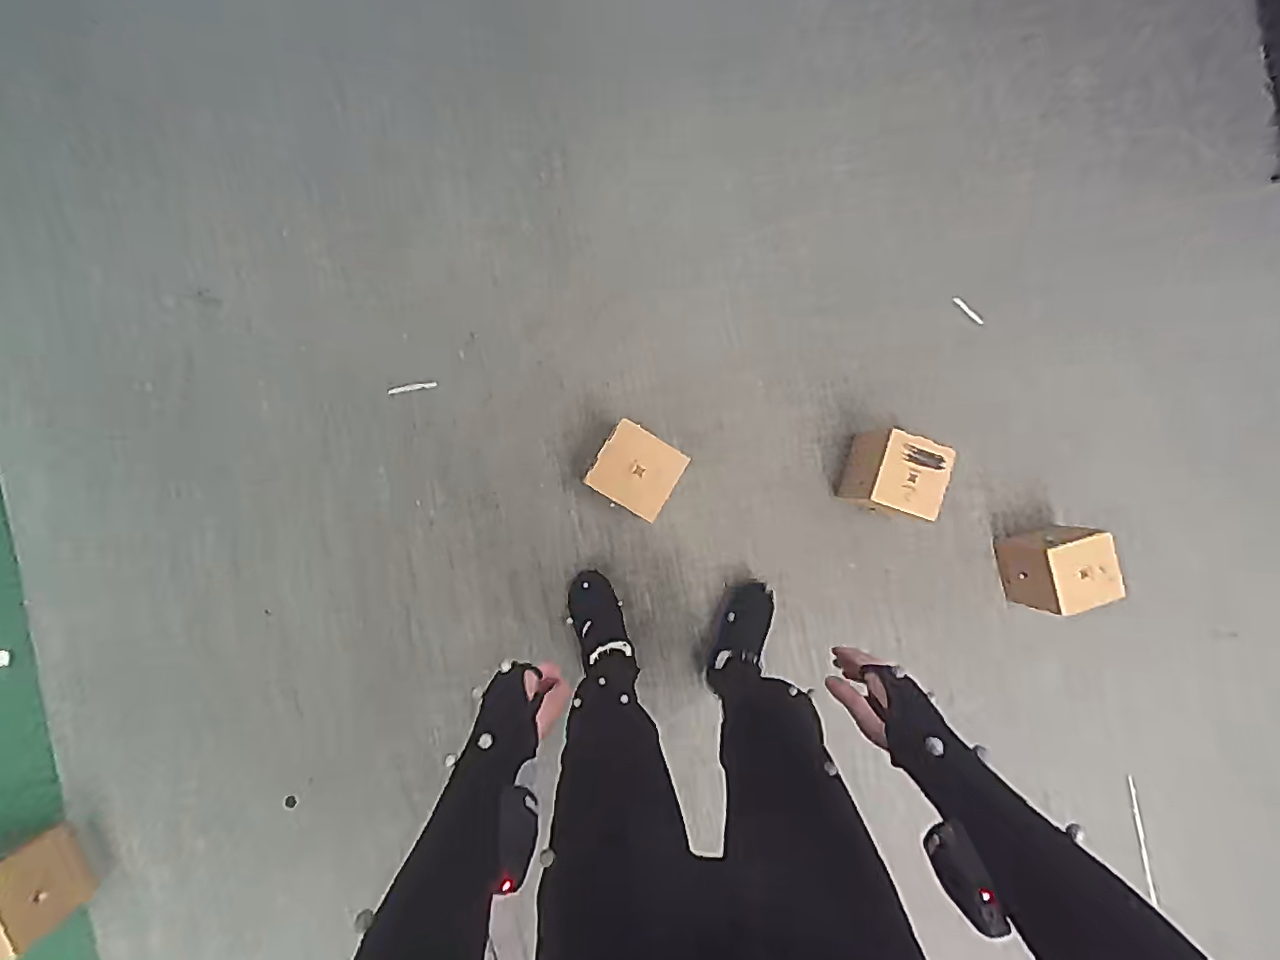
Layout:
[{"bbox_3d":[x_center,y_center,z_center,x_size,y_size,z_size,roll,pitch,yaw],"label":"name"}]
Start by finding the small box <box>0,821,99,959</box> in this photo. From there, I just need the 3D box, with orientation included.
[{"bbox_3d":[-1.265,0.843,1.088,0.168,0.176,0.179,-22,92,-6],"label":"small box"}]

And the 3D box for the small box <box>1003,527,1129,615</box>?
[{"bbox_3d":[1.043,0.219,1.345,0.179,0.176,0.168,-15,92,-6],"label":"small box"}]
